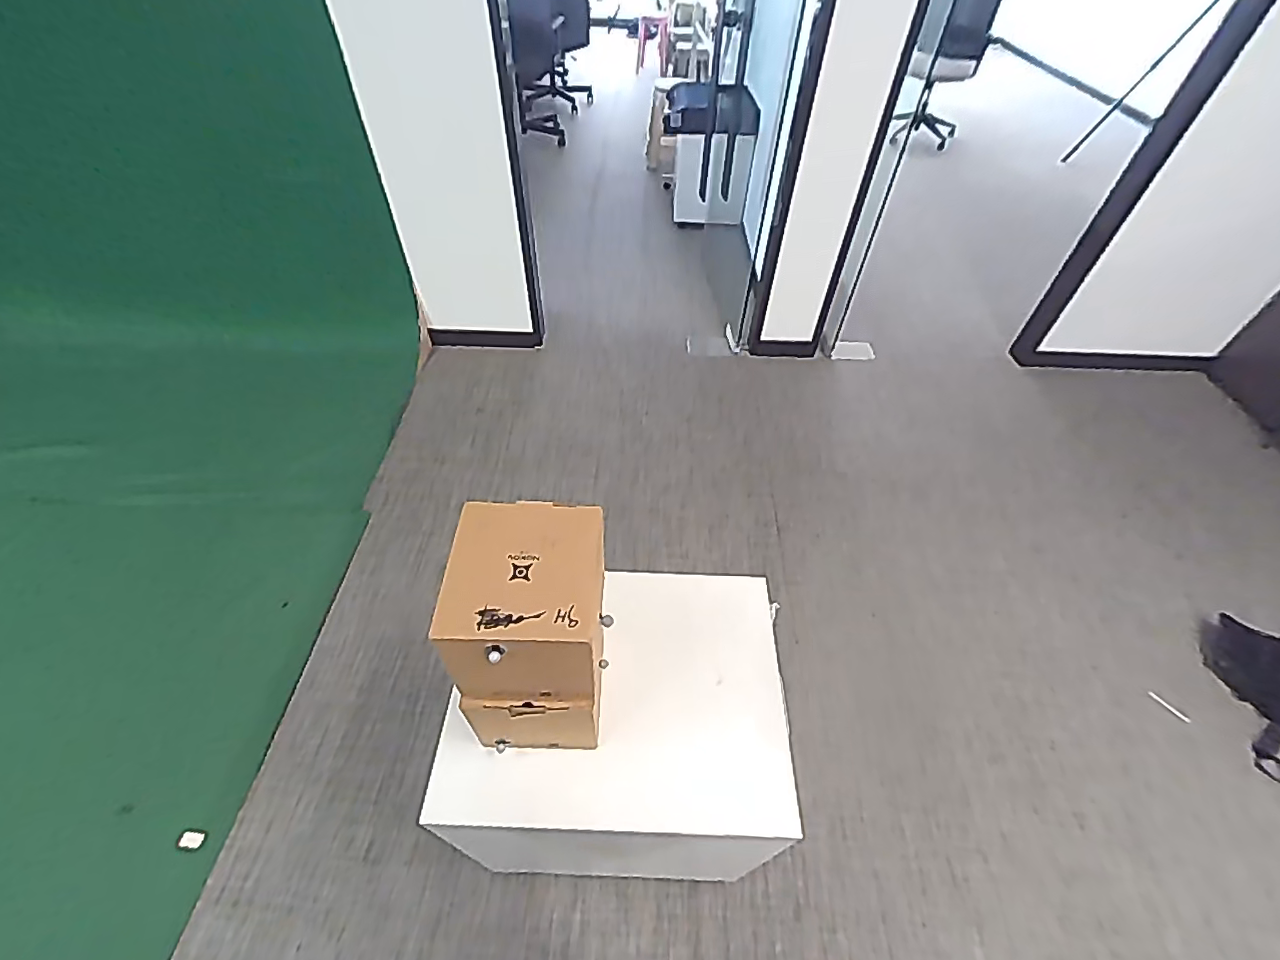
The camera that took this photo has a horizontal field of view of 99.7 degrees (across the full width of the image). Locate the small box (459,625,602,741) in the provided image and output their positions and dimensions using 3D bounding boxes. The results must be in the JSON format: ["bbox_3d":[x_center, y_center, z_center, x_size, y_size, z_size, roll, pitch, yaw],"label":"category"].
[{"bbox_3d":[-0.142,0.262,0.777,0.168,0.176,0.179,2,48,-1],"label":"small box"}]

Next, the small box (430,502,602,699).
[{"bbox_3d":[-0.134,0.147,0.661,0.168,0.176,0.179,1,48,-1],"label":"small box"}]
